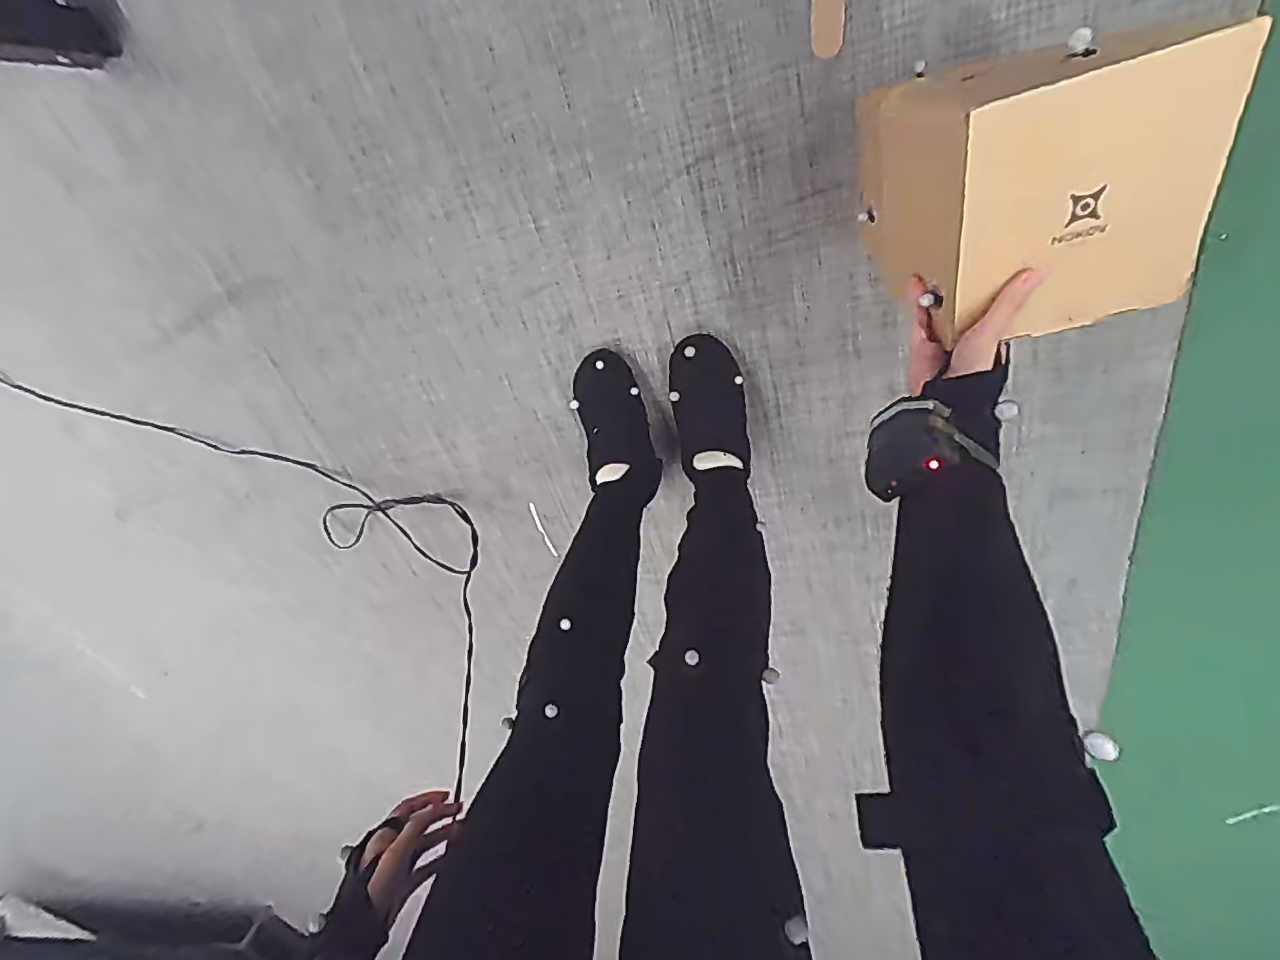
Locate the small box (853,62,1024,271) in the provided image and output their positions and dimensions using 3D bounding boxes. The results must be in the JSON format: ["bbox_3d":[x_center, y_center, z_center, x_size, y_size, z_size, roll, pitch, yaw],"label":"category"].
[{"bbox_3d":[0.336,-0.337,0.588,0.179,0.176,0.168,-7,122,12],"label":"small box"}]

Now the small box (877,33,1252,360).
[{"bbox_3d":[0.306,-0.229,0.444,0.168,0.176,0.179,-13,128,10],"label":"small box"}]
